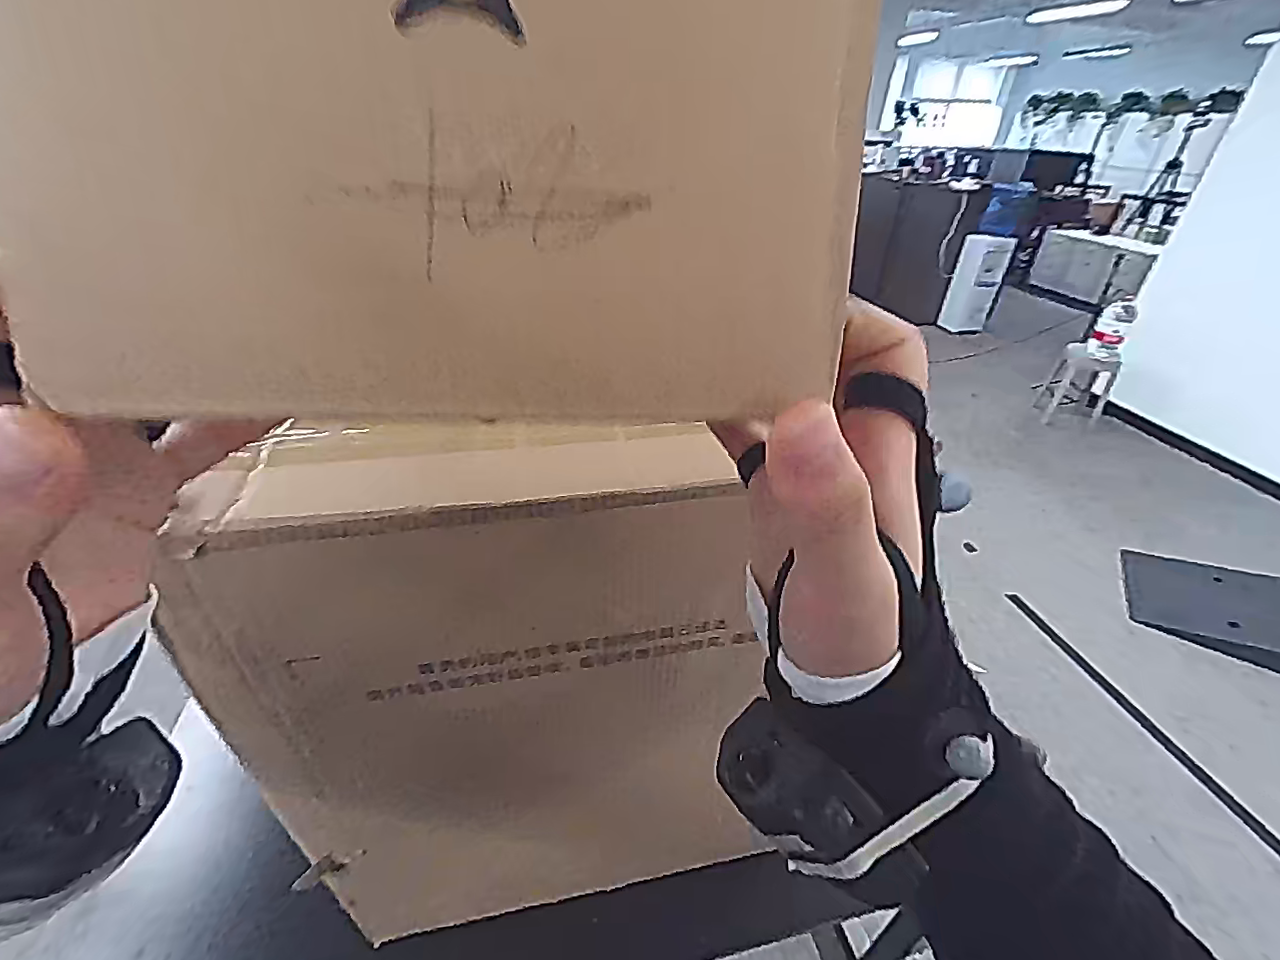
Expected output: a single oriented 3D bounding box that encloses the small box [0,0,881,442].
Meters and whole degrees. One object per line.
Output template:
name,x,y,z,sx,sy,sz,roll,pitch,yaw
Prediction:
small box,-0.043,-0.112,0.181,0.168,0.179,0.176,-1,14,-9
